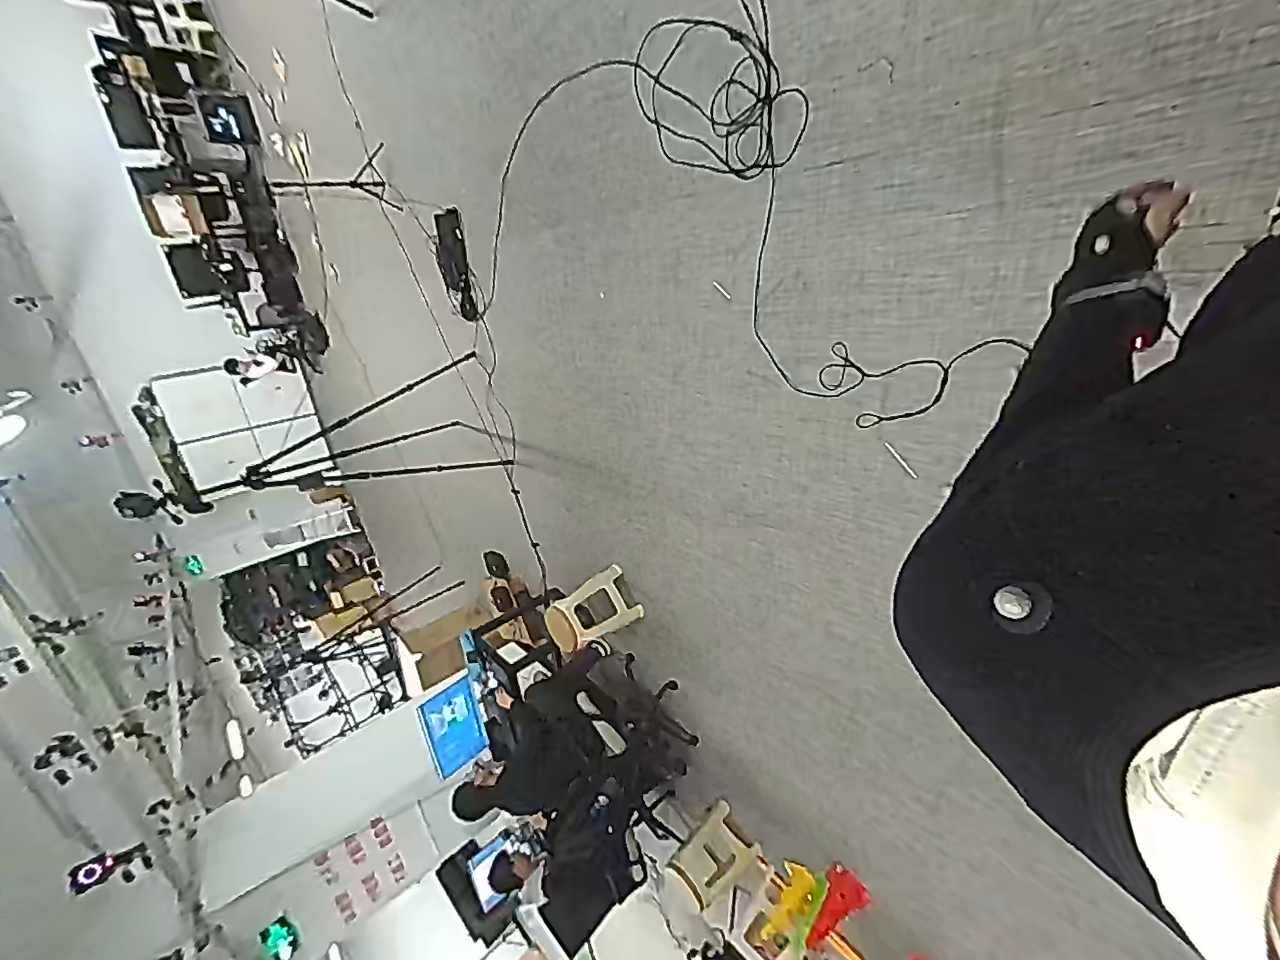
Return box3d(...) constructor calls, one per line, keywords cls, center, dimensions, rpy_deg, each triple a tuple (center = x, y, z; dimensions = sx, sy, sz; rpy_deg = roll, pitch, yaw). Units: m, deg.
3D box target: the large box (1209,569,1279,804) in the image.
box3d(cls="large box", center=(1.230, 0.339, 0.881), dimensions=(0.320, 0.320, 0.408), rpy_deg=(24, 127, 42))
